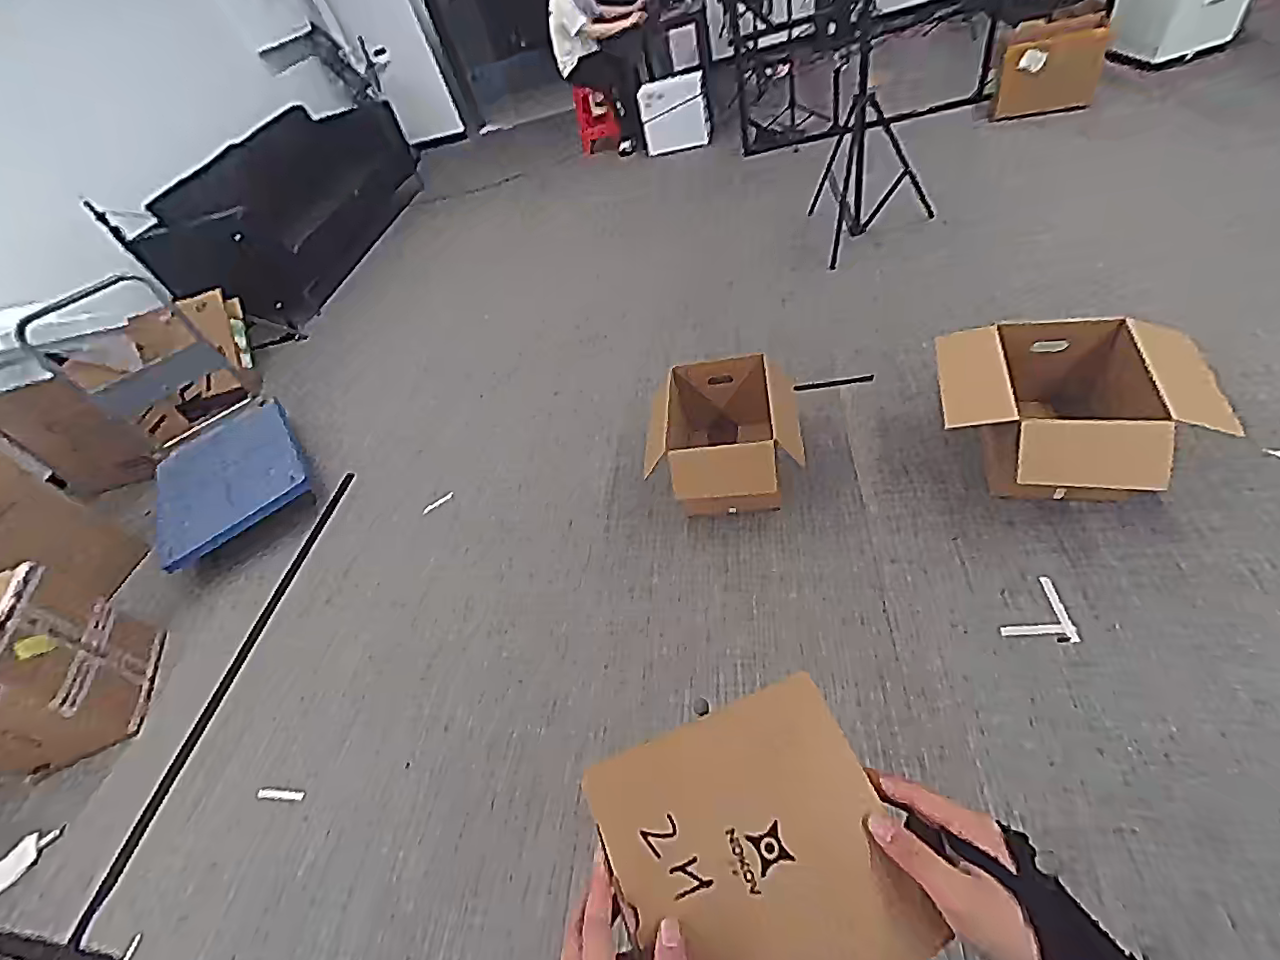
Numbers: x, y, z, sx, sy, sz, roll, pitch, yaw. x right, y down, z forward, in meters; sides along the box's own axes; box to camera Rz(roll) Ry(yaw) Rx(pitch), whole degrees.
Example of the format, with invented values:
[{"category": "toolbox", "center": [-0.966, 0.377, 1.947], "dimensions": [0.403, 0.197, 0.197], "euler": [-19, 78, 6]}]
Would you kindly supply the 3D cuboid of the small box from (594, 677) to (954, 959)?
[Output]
[{"category": "small box", "center": [0.076, 0.270, 0.405], "dimensions": [0.179, 0.176, 0.168], "euler": [-19, 61, -10]}]
